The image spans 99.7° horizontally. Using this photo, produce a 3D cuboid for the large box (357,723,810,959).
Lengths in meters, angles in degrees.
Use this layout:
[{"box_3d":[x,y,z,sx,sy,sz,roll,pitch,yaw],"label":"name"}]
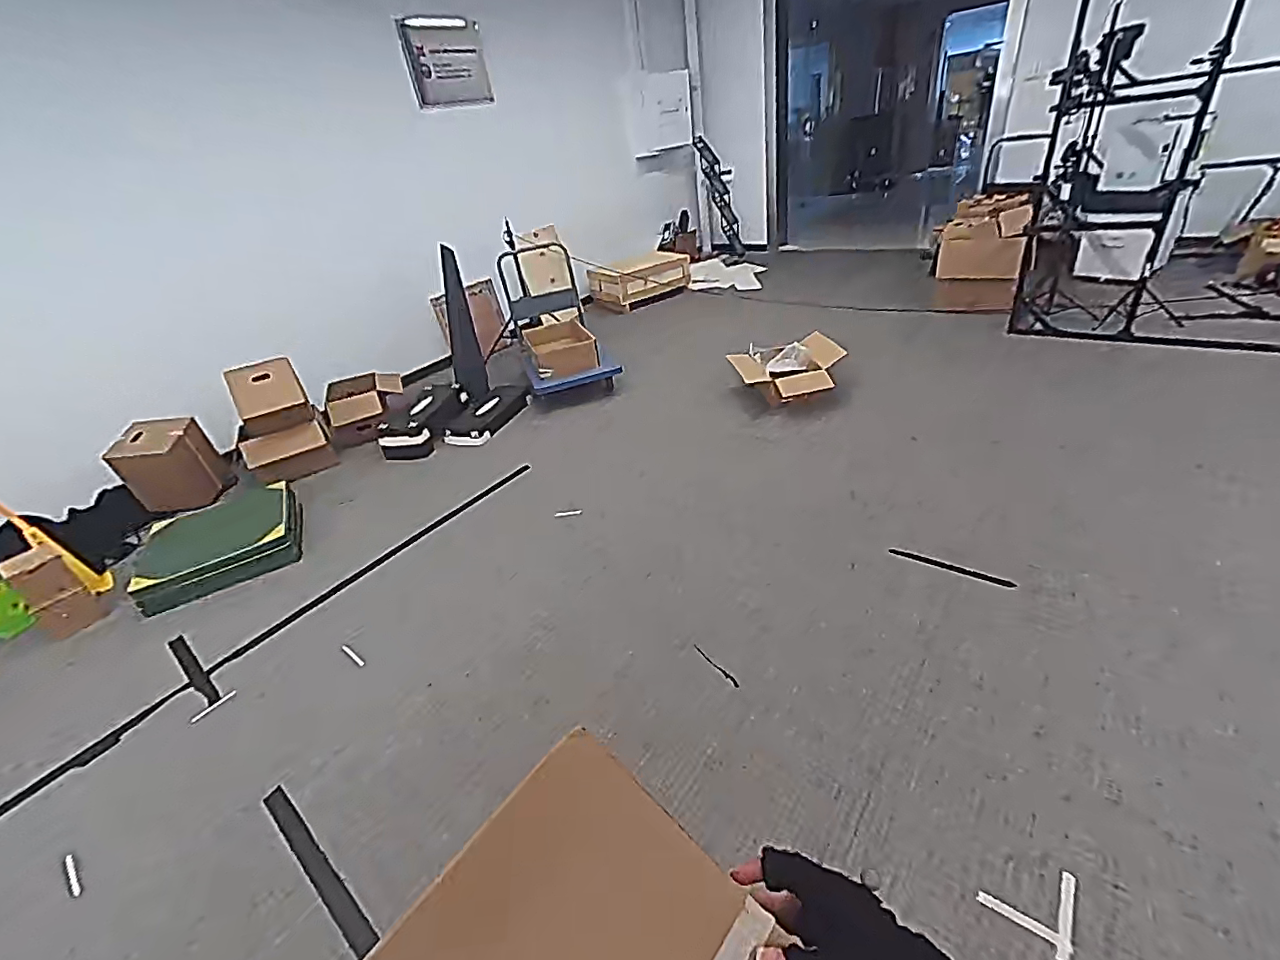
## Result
[{"box_3d":[-0.091,0.454,0.364,0.320,0.320,0.408,41,58,11],"label":"large box"}]
